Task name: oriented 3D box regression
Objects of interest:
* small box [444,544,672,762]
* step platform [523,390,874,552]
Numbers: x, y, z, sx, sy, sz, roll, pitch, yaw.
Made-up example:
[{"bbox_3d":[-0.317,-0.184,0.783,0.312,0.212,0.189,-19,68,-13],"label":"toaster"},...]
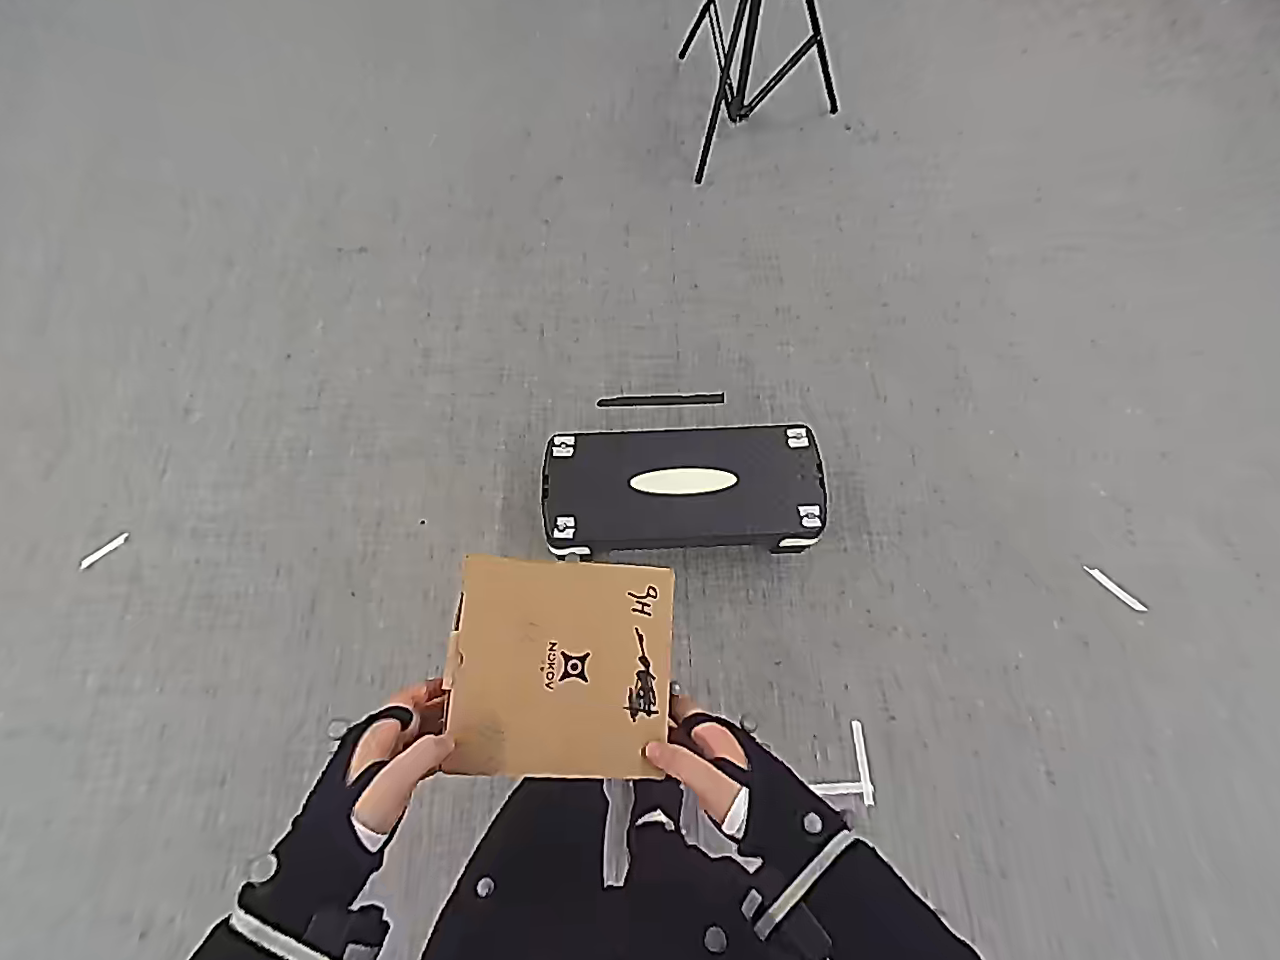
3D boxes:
[{"bbox_3d":[-0.071,0.159,0.523,0.179,0.176,0.168,5,77,-5],"label":"small box"},{"bbox_3d":[0.111,-0.008,1.150,0.684,0.204,0.286,-2,71,-1],"label":"step platform"}]
